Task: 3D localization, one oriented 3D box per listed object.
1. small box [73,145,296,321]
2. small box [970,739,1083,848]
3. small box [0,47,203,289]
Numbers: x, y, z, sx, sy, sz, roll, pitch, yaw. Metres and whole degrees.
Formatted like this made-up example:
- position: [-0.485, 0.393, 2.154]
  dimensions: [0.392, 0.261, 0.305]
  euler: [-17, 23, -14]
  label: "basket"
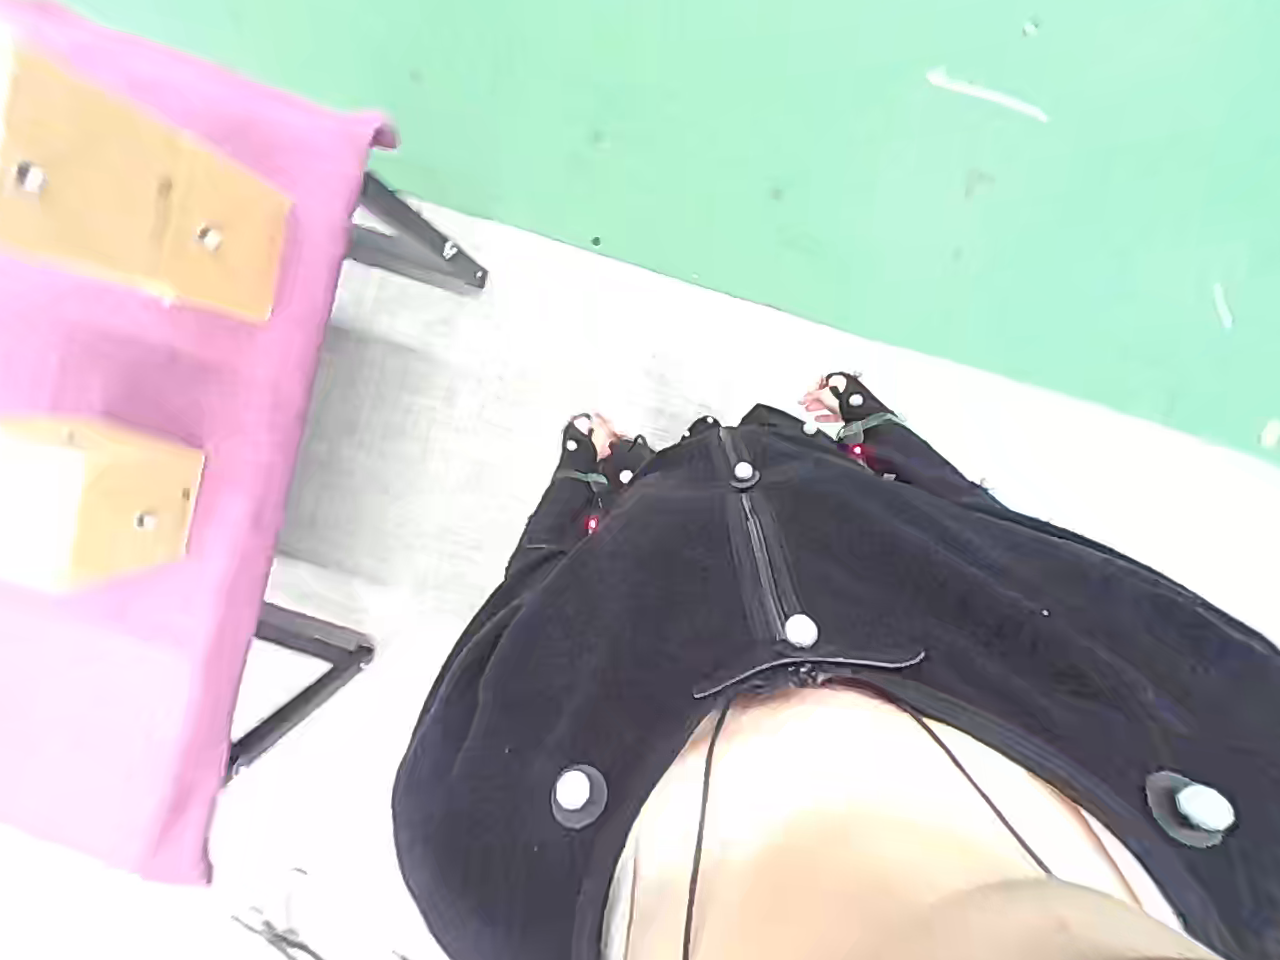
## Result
- position: [-0.580, -0.319, 0.693]
  dimensions: [0.168, 0.176, 0.179]
  euler: [16, 99, 1]
  label: "small box"
- position: [1.003, 0.814, 1.420]
  dimensions: [0.168, 0.176, 0.179]
  euler: [8, 96, 3]
  label: "small box"
- position: [-0.590, -0.301, 0.530]
  dimensions: [0.179, 0.176, 0.168]
  euler: [16, 100, 1]
  label: "small box"
